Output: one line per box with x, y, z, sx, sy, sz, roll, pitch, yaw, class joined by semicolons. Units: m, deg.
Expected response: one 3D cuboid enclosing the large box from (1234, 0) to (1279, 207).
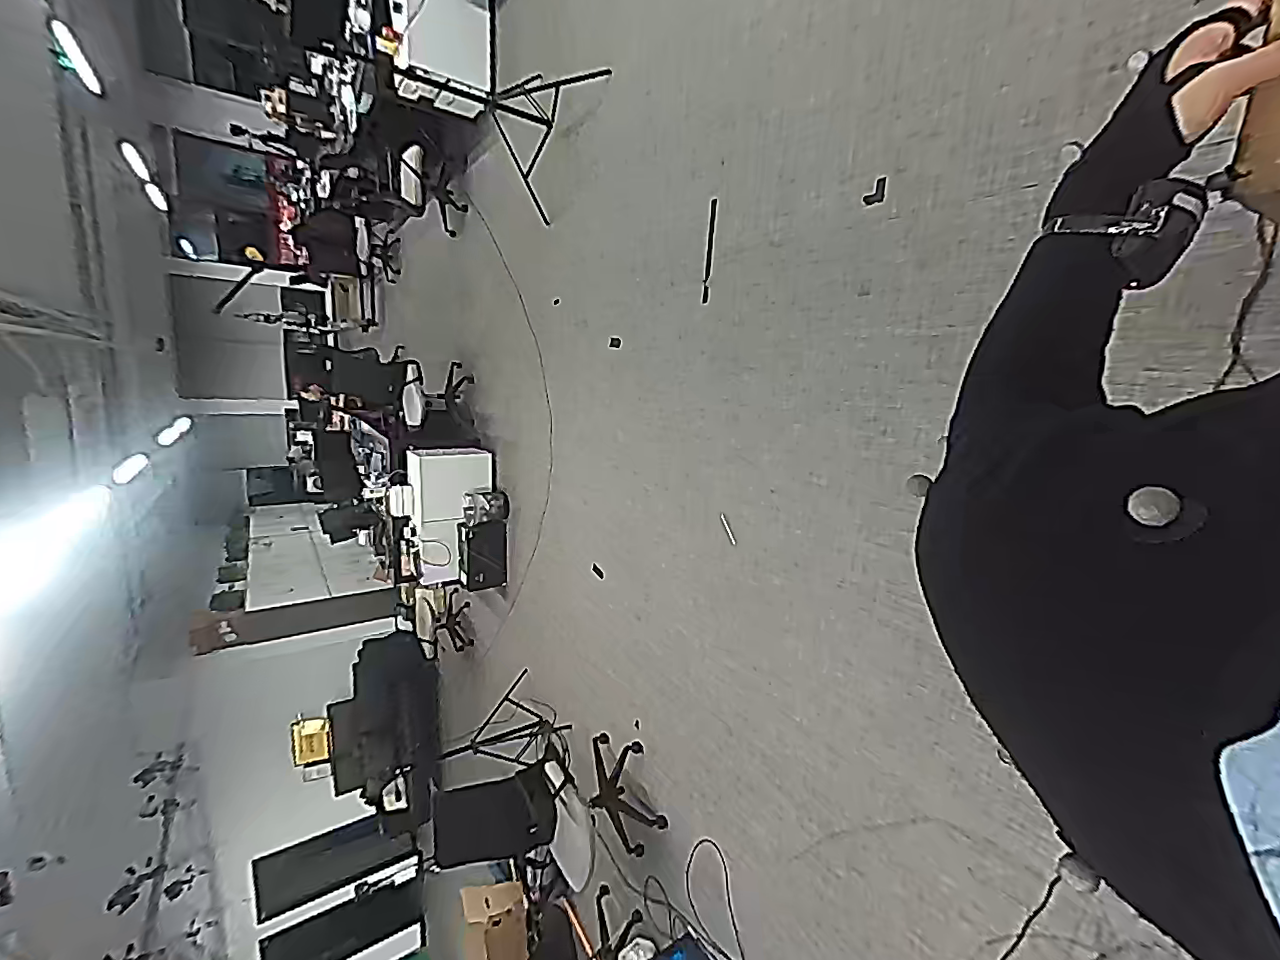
0.668;-0.345;0.277;0.408;0.320;0.320;21;115;55;large box
